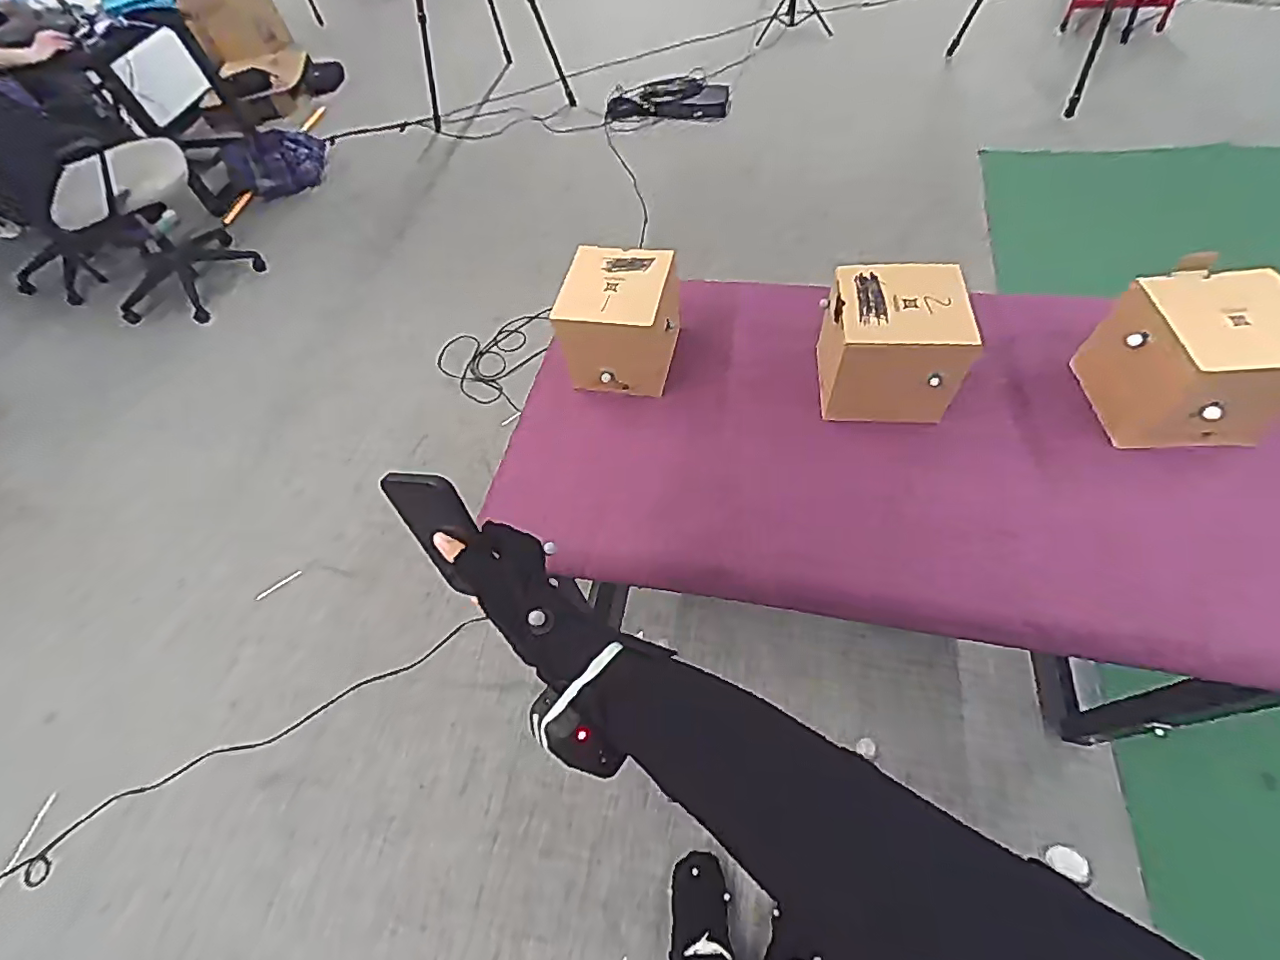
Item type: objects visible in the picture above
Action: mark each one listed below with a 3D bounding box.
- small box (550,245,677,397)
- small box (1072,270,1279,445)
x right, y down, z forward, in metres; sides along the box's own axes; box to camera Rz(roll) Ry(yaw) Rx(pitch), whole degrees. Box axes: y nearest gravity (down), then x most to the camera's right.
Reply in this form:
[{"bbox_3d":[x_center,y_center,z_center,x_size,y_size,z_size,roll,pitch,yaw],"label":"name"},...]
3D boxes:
[{"bbox_3d":[-0.033,-0.266,0.914,0.168,0.176,0.179,8,61,12],"label":"small box"},{"bbox_3d":[0.757,-0.159,0.747,0.168,0.176,0.179,-2,57,7],"label":"small box"}]
